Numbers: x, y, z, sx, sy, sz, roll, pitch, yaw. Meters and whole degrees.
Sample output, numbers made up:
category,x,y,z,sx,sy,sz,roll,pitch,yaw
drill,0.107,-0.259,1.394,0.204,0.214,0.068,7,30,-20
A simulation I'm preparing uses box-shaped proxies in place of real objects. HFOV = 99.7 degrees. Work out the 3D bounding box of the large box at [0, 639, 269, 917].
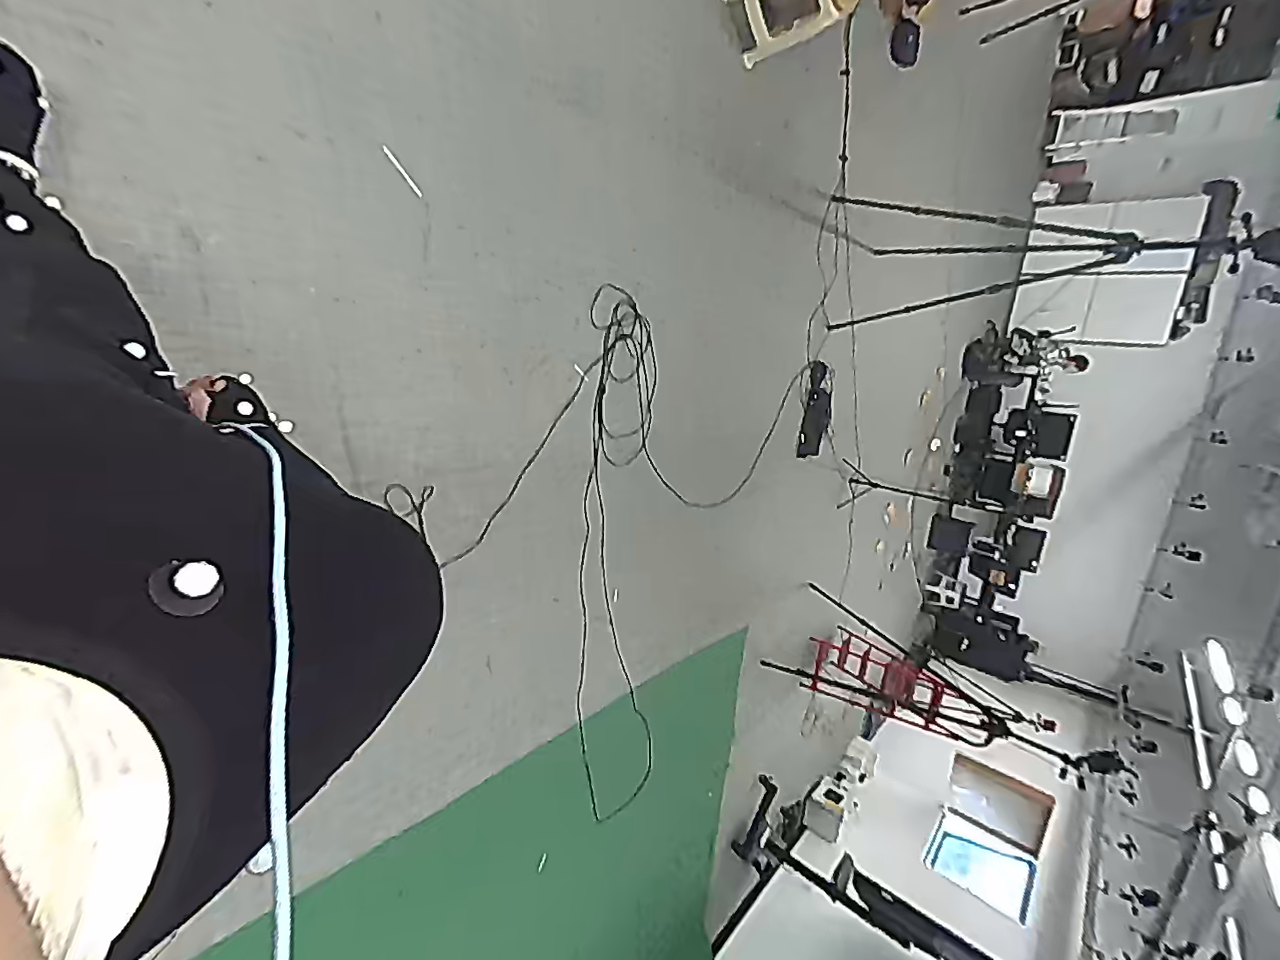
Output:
category,x,y,z,sx,sy,sz,roll,pitch,yaw
large box,-1.134,0.624,1.226,0.408,0.320,0.320,-13,111,-45
